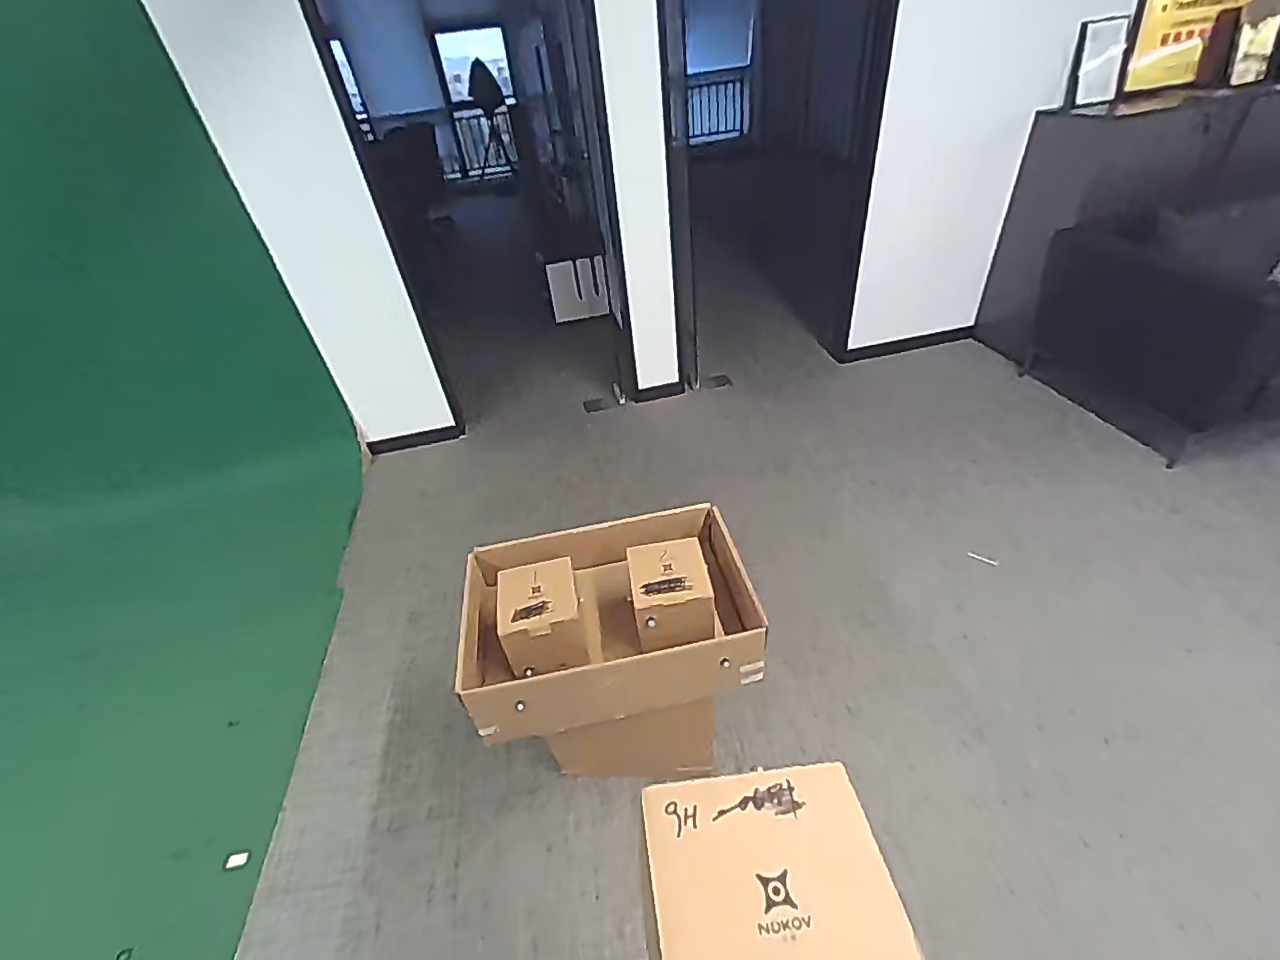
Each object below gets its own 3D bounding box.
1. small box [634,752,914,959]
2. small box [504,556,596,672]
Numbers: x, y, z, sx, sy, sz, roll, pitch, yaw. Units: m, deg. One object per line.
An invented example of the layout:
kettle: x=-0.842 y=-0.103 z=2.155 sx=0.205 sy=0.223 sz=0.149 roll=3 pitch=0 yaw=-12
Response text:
small box: x=0.087 y=0.342 z=0.414 sx=0.168 sy=0.176 sz=0.179 roll=-4 pitch=38 yaw=-5
small box: x=-0.199 y=0.302 z=1.198 sx=0.168 sy=0.176 sz=0.179 roll=-12 pitch=38 yaw=-5
